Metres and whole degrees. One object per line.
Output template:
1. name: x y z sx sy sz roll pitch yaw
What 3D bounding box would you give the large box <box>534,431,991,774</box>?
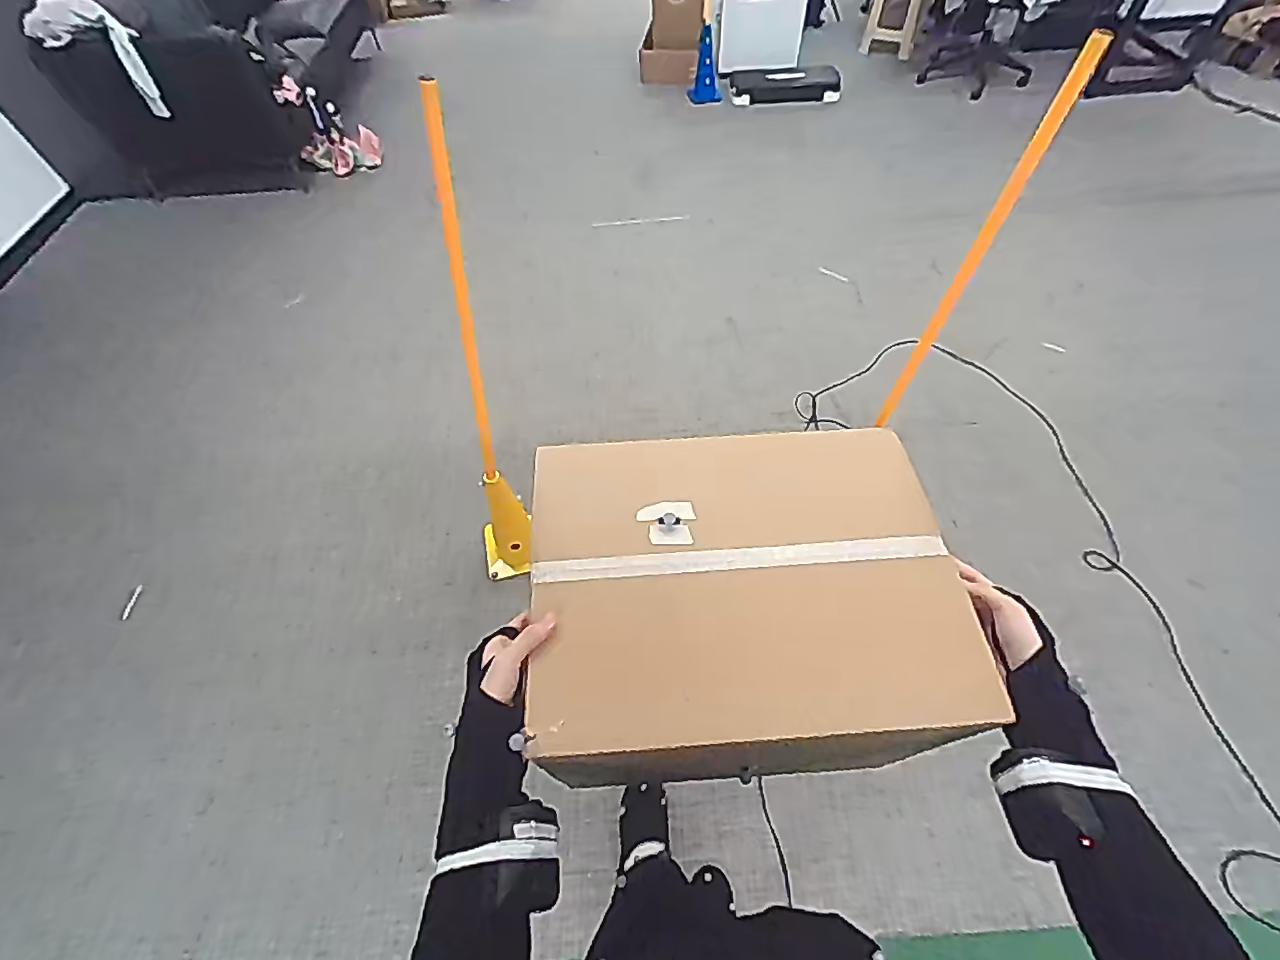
1. large box: 0.102 0.165 0.665 0.408 0.320 0.320 -3 56 -1
